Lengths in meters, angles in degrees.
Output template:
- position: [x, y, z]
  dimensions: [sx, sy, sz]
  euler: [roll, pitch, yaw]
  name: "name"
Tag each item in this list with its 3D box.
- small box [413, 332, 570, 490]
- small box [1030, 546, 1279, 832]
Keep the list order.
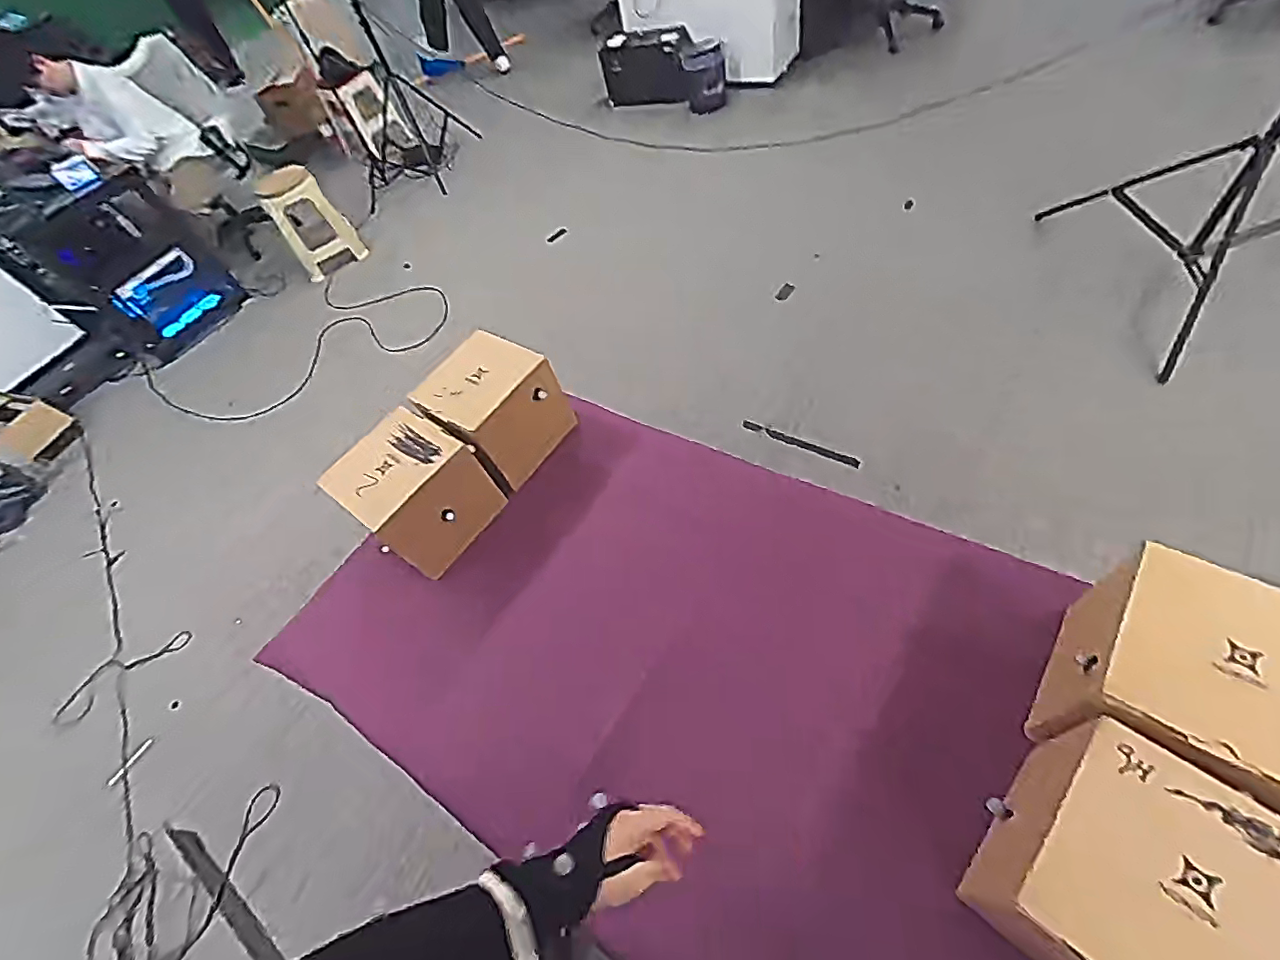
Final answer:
- position: [-0.241, -0.117, 0.931]
  dimensions: [0.168, 0.176, 0.179]
  euler: [27, 66, 28]
  name: "small box"
- position: [0.517, 0.202, 0.522]
  dimensions: [0.168, 0.176, 0.179]
  euler: [27, 64, 28]
  name: "small box"
